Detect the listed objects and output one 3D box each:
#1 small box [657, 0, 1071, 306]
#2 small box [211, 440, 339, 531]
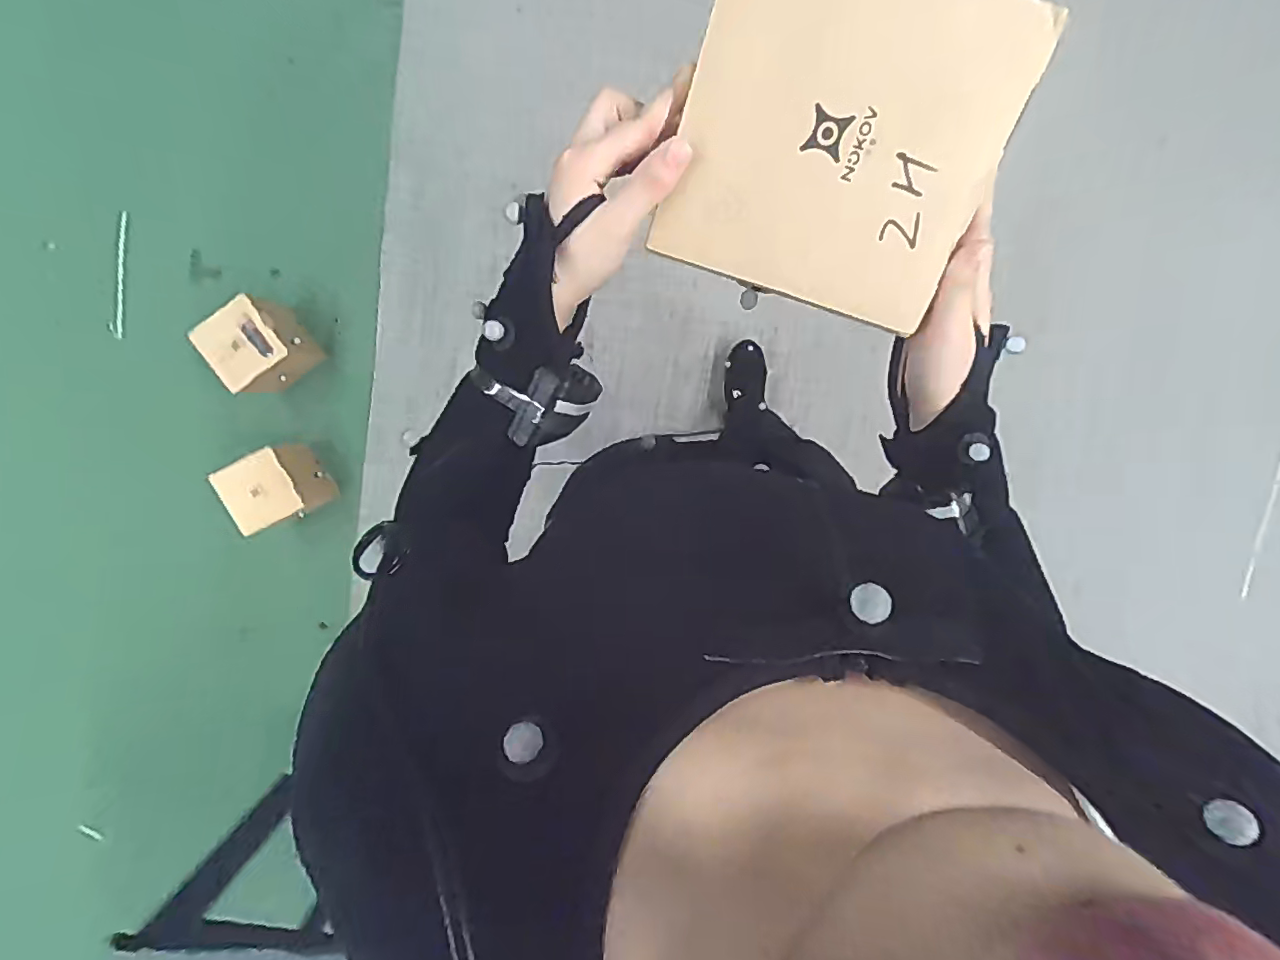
[{"bbox_3d":[0.118,-0.230,0.370,0.179,0.176,0.168,16,113,-4],"label":"small box"},{"bbox_3d":[-0.921,0.007,1.381,0.179,0.176,0.168,-27,97,2],"label":"small box"}]
